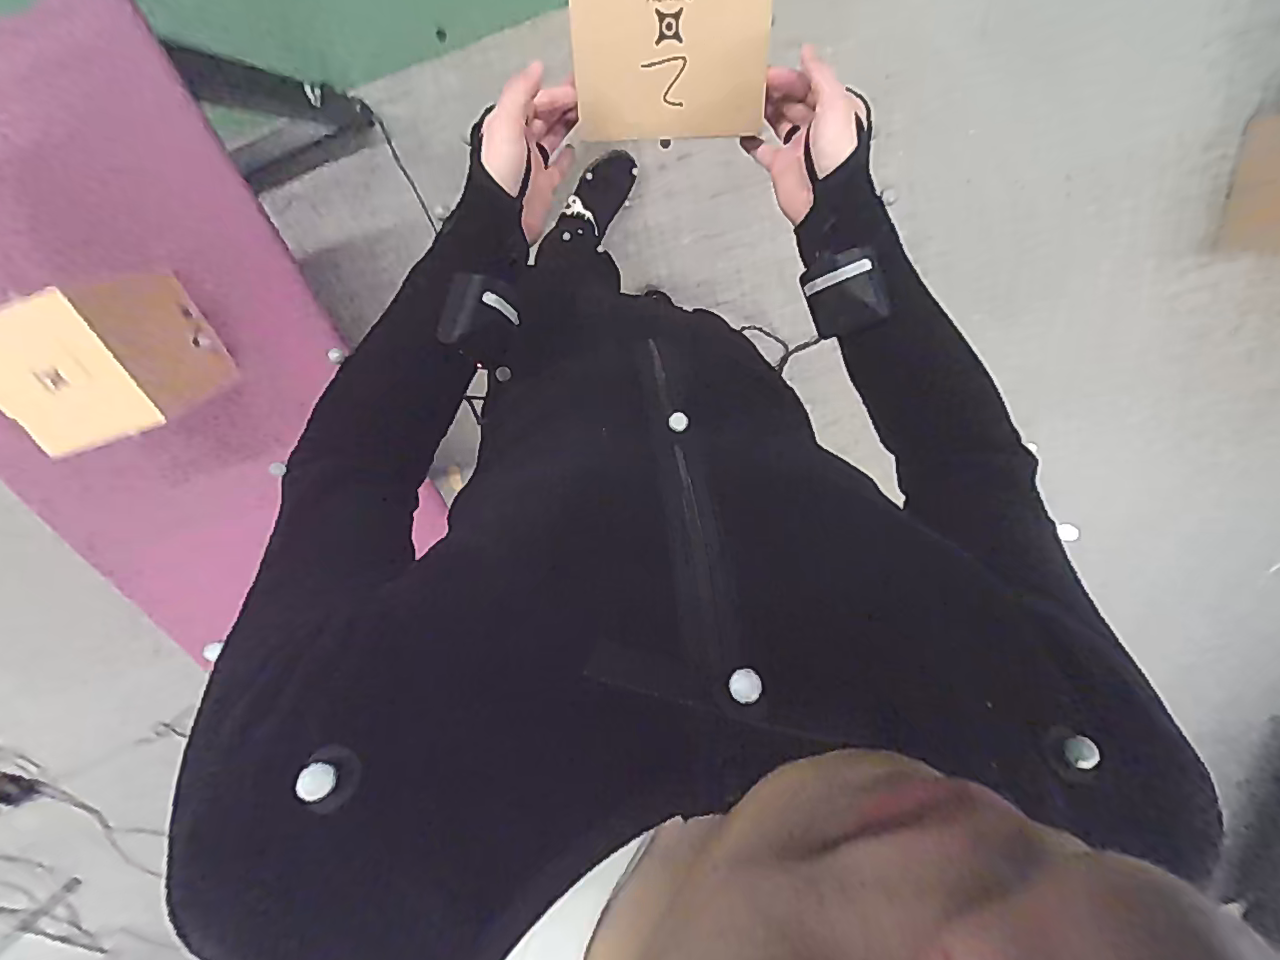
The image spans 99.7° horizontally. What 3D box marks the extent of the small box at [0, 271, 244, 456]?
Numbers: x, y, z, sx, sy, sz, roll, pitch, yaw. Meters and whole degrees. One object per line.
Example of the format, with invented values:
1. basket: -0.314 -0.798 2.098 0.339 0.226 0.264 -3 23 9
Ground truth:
1. small box: -0.684 -0.158 0.709 0.179 0.176 0.168 -15 120 7
